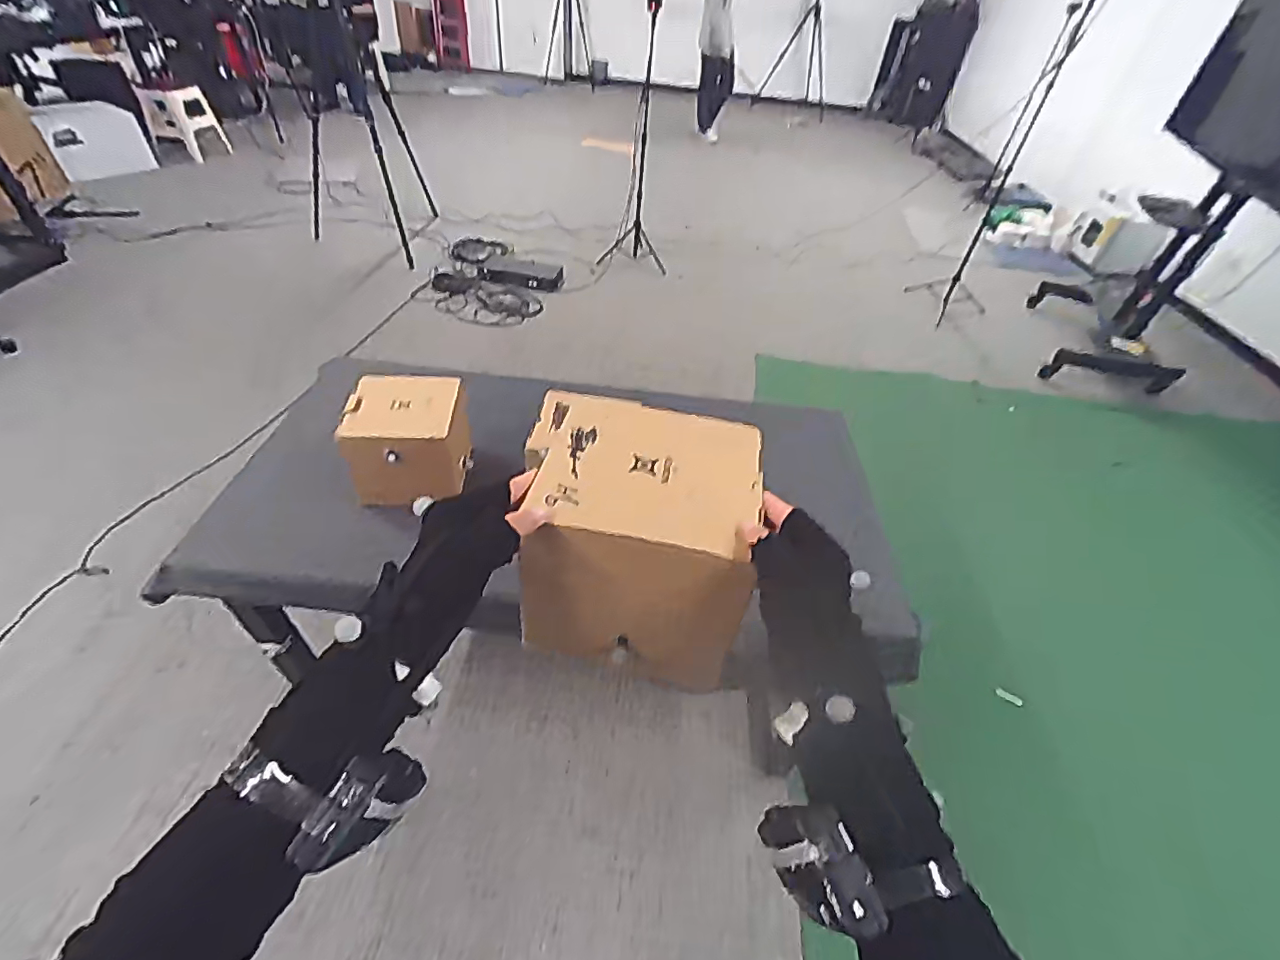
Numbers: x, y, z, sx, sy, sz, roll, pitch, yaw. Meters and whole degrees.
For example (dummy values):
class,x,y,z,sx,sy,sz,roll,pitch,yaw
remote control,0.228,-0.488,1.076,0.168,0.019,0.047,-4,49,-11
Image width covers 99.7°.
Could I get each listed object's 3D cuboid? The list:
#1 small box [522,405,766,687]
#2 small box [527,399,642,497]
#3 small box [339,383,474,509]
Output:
class,x,y,z,sx,sy,sz,roll,pitch,yaw
small box,0.004,0.059,0.485,0.179,0.176,0.168,11,38,3
small box,-0.097,-0.024,0.985,0.179,0.176,0.168,8,44,1
small box,-0.412,-0.059,0.985,0.179,0.176,0.168,1,46,-8
